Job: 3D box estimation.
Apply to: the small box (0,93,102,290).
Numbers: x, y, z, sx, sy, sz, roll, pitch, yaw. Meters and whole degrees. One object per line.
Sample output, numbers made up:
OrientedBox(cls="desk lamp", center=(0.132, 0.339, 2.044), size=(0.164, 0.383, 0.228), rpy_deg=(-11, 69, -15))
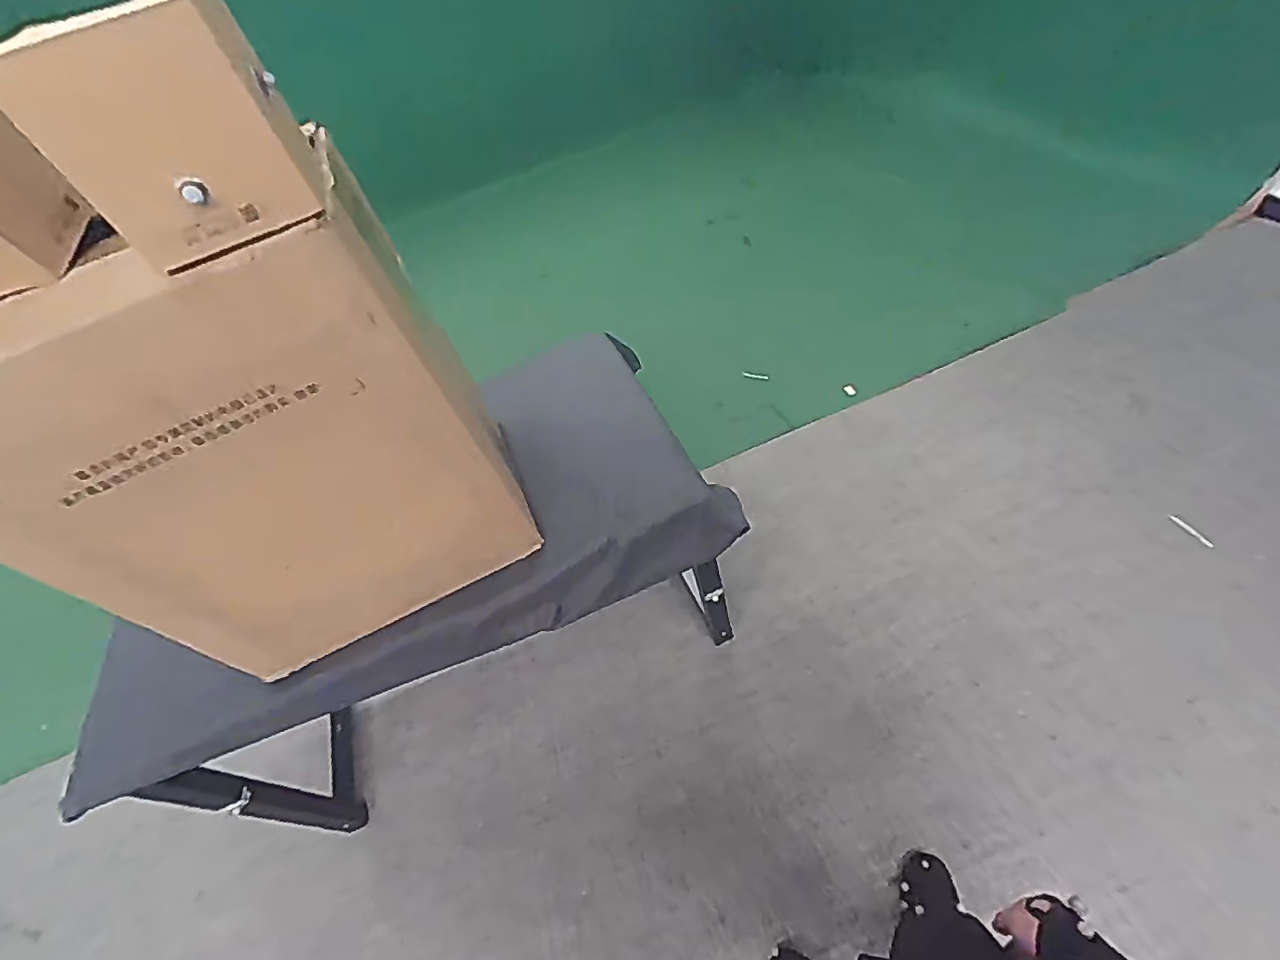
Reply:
OrientedBox(cls="small box", center=(-0.704, -0.296, 0.528), size=(0.179, 0.176, 0.168), rpy_deg=(-14, 62, 1))

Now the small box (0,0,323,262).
OrientedBox(cls="small box", center=(-0.429, -0.338, 0.511), size=(0.168, 0.176, 0.179), rpy_deg=(-26, 52, -6))
